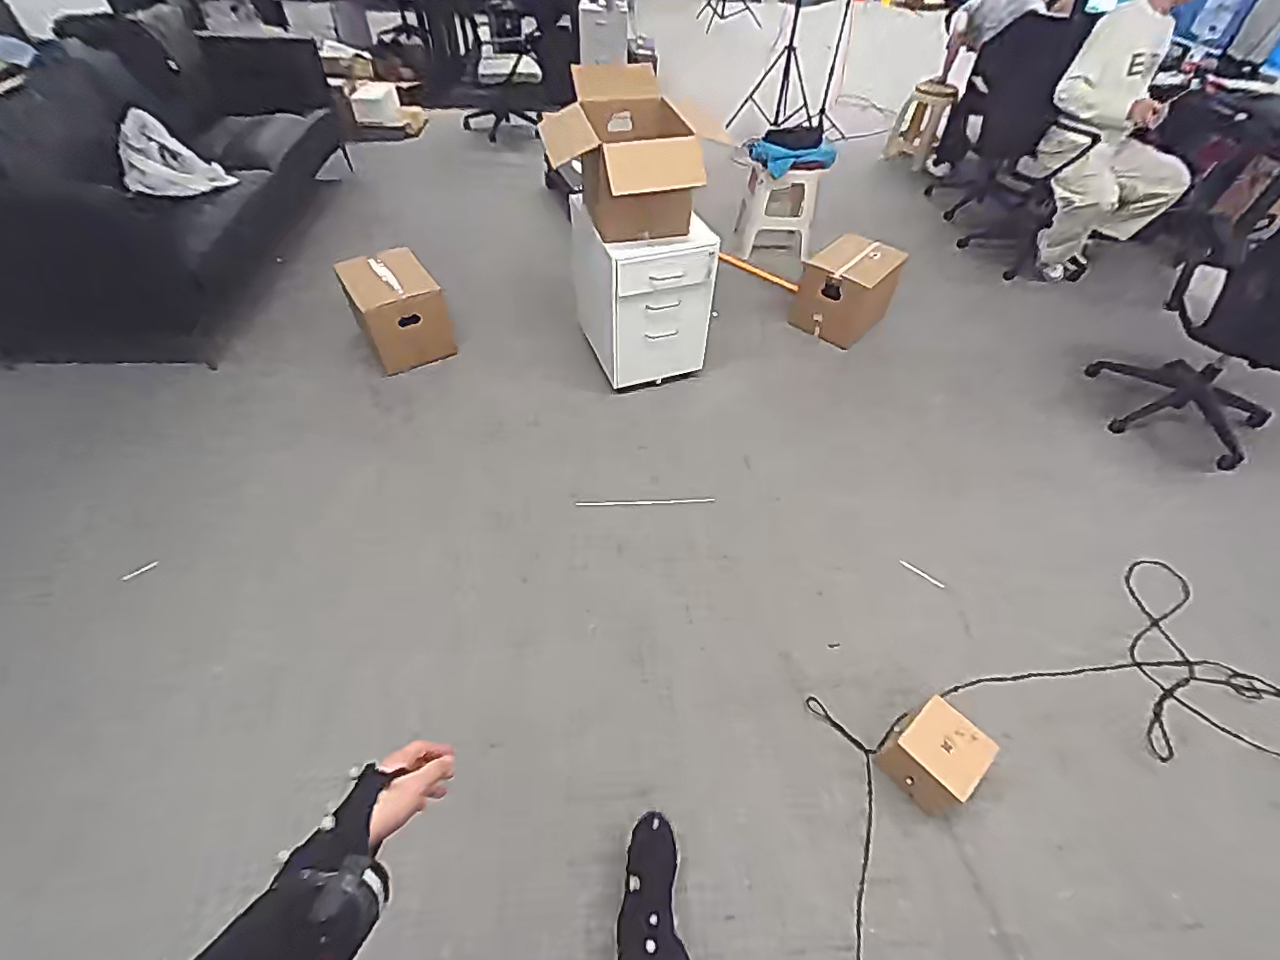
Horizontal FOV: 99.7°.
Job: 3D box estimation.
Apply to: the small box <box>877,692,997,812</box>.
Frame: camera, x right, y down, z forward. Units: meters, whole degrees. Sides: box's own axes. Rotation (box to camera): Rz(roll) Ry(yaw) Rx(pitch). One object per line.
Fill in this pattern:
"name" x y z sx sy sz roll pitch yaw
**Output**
"small box" 0.692 0.650 1.284 0.179 0.176 0.168 -33 58 -26
